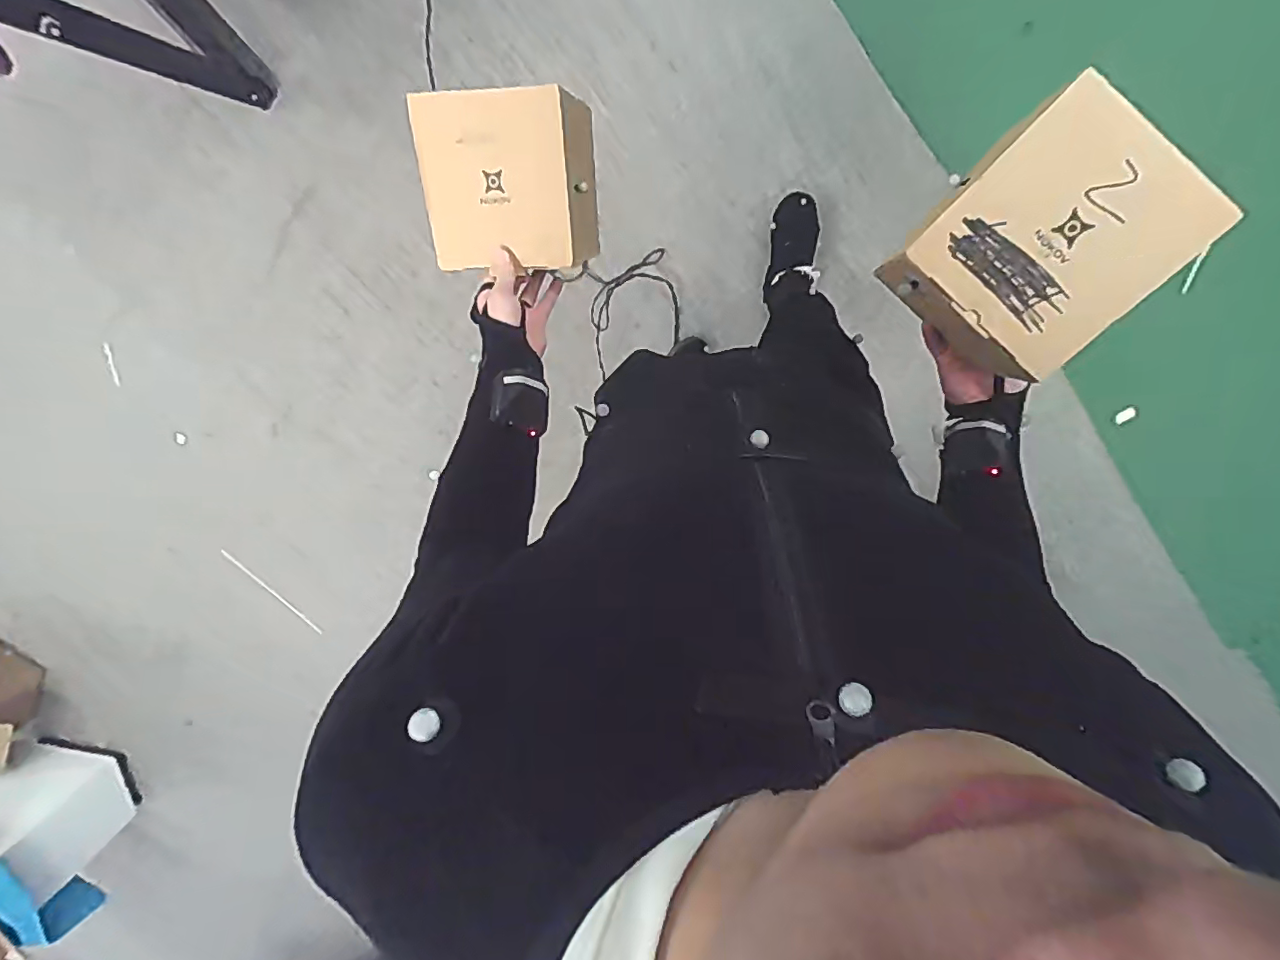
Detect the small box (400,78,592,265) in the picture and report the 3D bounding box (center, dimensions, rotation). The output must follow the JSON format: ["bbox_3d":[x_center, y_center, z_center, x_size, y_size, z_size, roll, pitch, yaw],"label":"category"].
[{"bbox_3d":[-0.157,-0.367,0.658,0.168,0.176,0.179,1,119,6],"label":"small box"}]
